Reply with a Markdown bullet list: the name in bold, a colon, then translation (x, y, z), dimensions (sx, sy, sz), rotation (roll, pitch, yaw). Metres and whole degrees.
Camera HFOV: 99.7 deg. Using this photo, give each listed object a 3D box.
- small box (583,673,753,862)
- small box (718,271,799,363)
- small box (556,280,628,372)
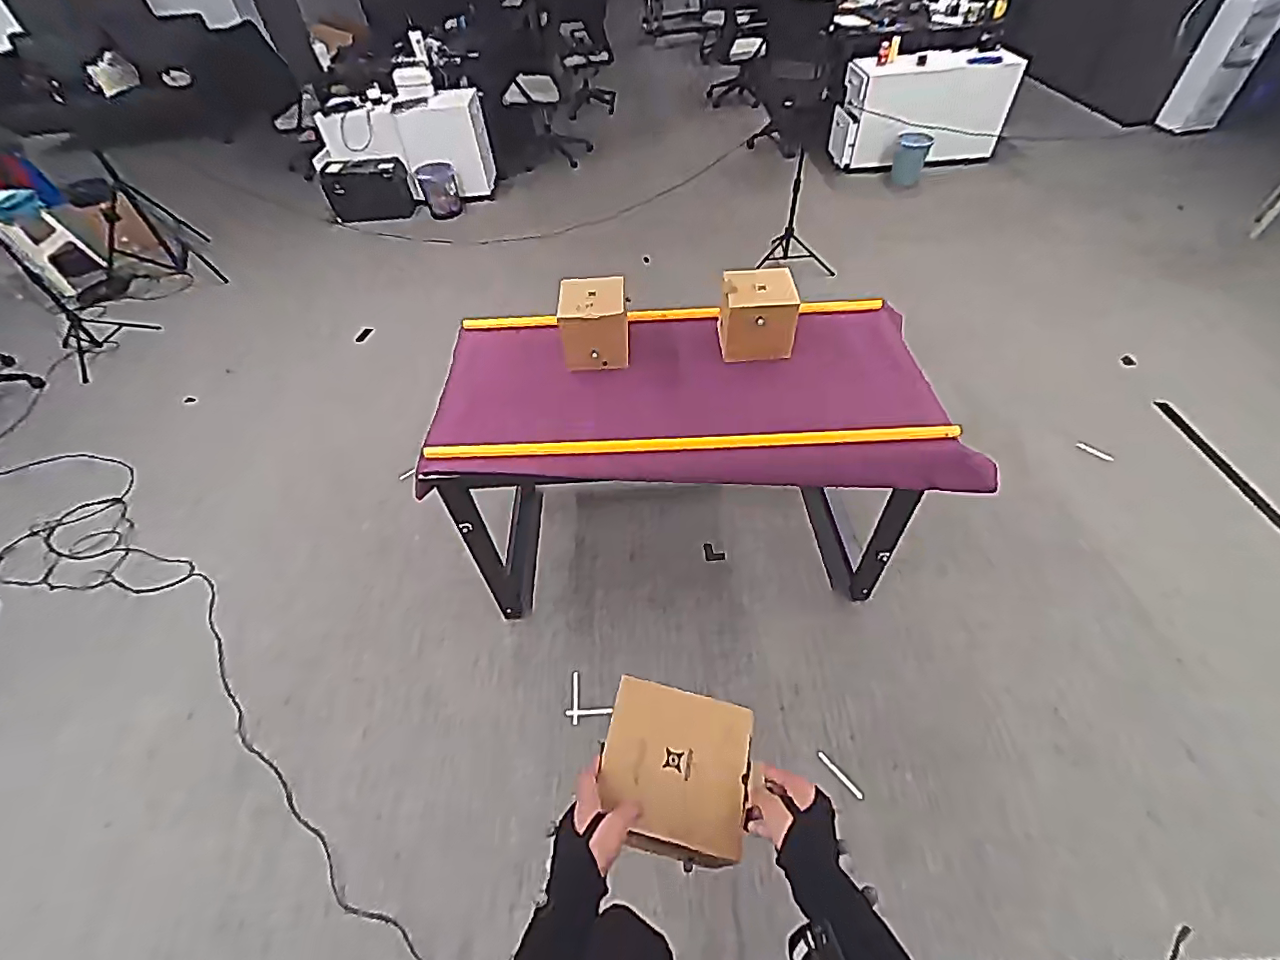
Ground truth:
- **small box**: translation (0.032, 0.378, 0.704), dimensions (0.179, 0.176, 0.168), rotation (14, 52, 3)
- **small box**: translation (0.303, -0.425, 1.418), dimensions (0.179, 0.176, 0.168), rotation (-3, 50, 3)
- **small box**: translation (-0.120, -0.405, 1.430), dimensions (0.168, 0.176, 0.179), rotation (-3, 51, 2)
